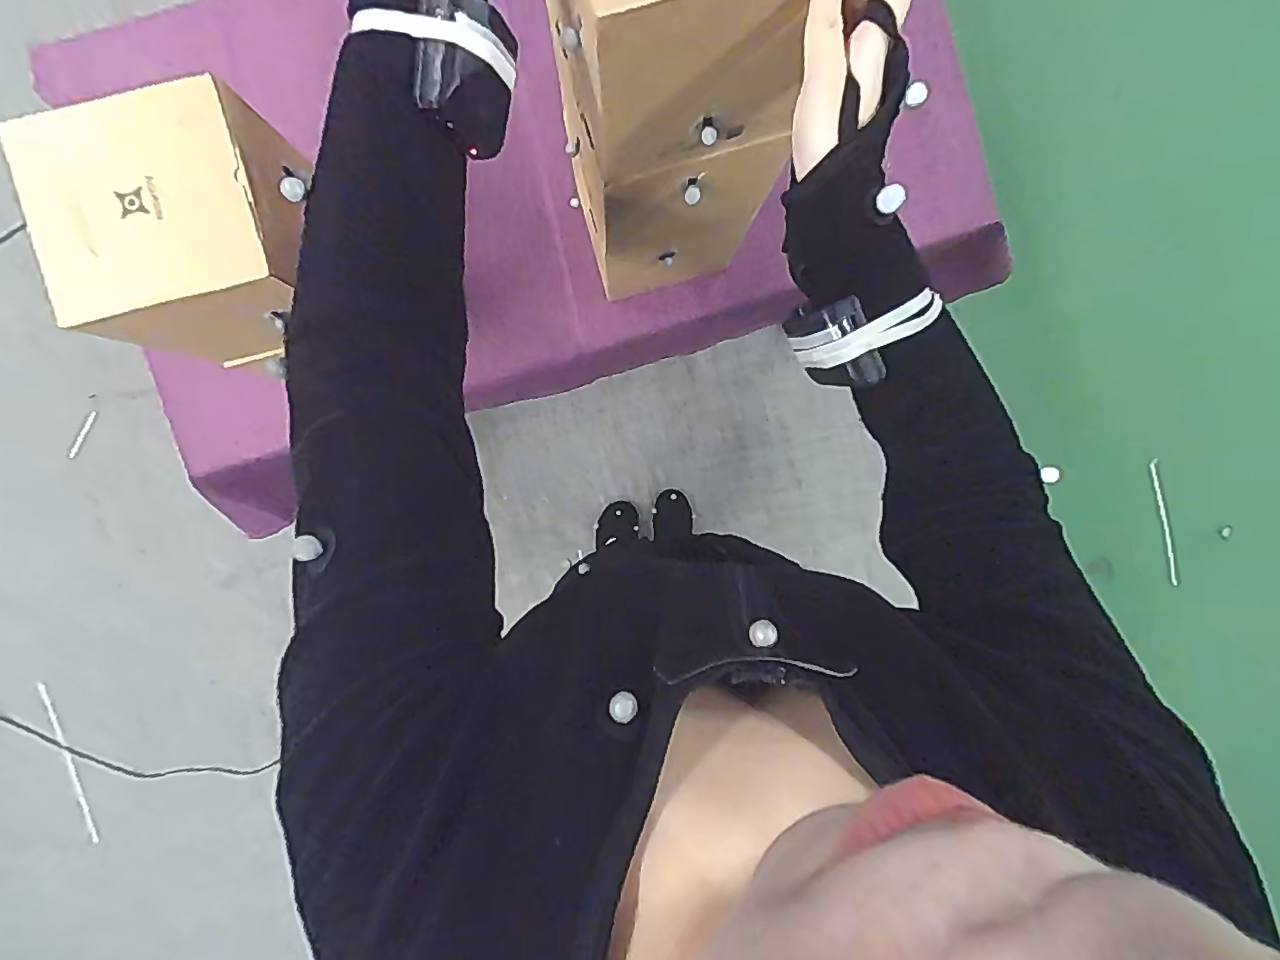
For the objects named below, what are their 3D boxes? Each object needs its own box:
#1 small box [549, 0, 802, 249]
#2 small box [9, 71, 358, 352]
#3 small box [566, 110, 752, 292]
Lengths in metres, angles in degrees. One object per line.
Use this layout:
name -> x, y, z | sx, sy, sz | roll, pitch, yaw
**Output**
small box -> 0.028, -0.346, 0.514 | 0.179, 0.176, 0.168 | -16, 94, 1
small box -> -0.396, -0.231, 0.511 | 0.179, 0.176, 0.168 | -14, 93, 0
small box -> 0.021, -0.354, 0.676 | 0.179, 0.176, 0.168 | -16, 94, -1
